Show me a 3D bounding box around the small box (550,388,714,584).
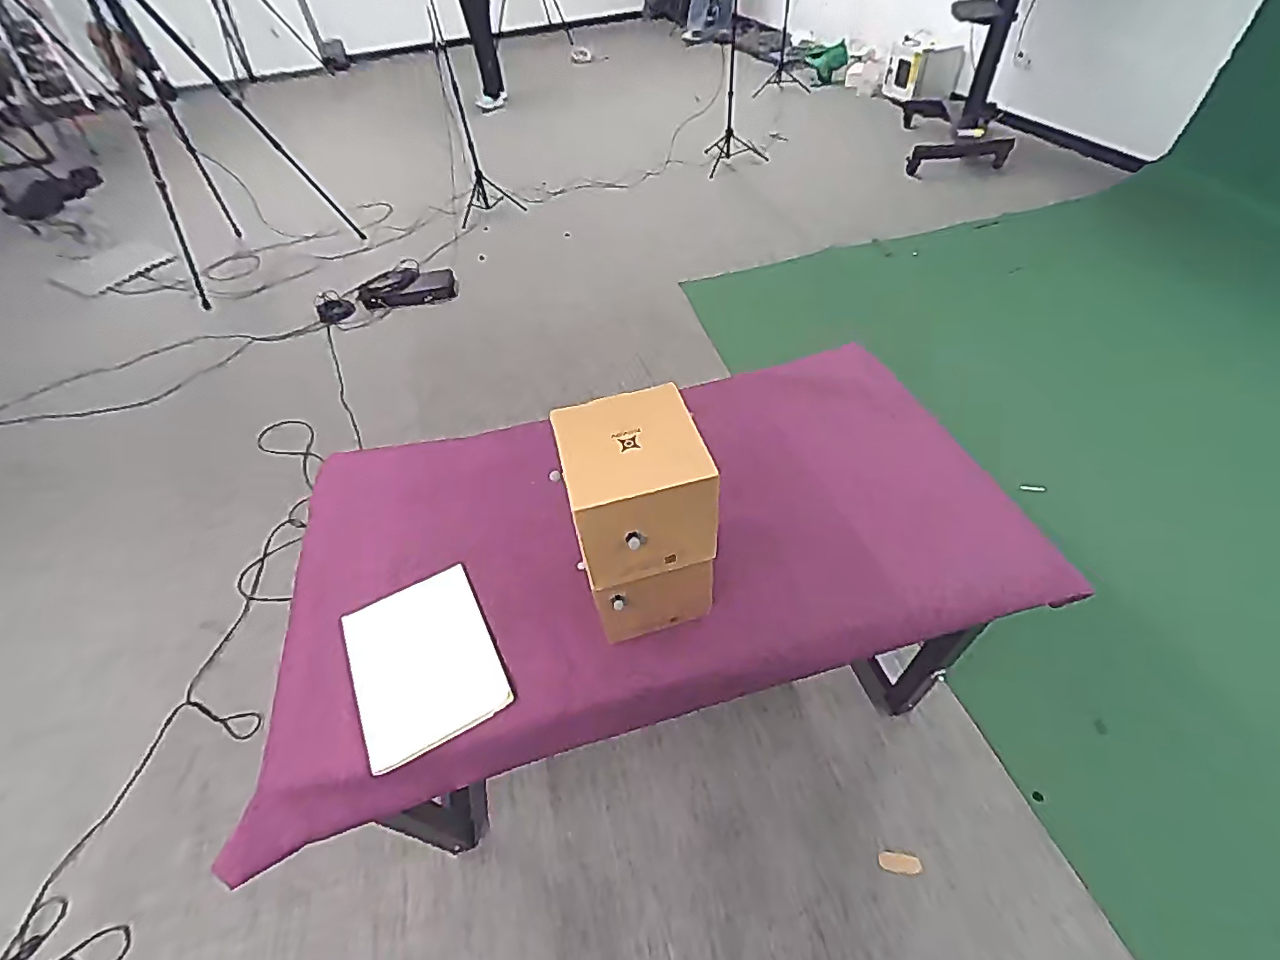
[{"bbox_3d":[-0.008,0.013,0.694,0.168,0.176,0.179,-14,47,-7],"label":"small box"}]
